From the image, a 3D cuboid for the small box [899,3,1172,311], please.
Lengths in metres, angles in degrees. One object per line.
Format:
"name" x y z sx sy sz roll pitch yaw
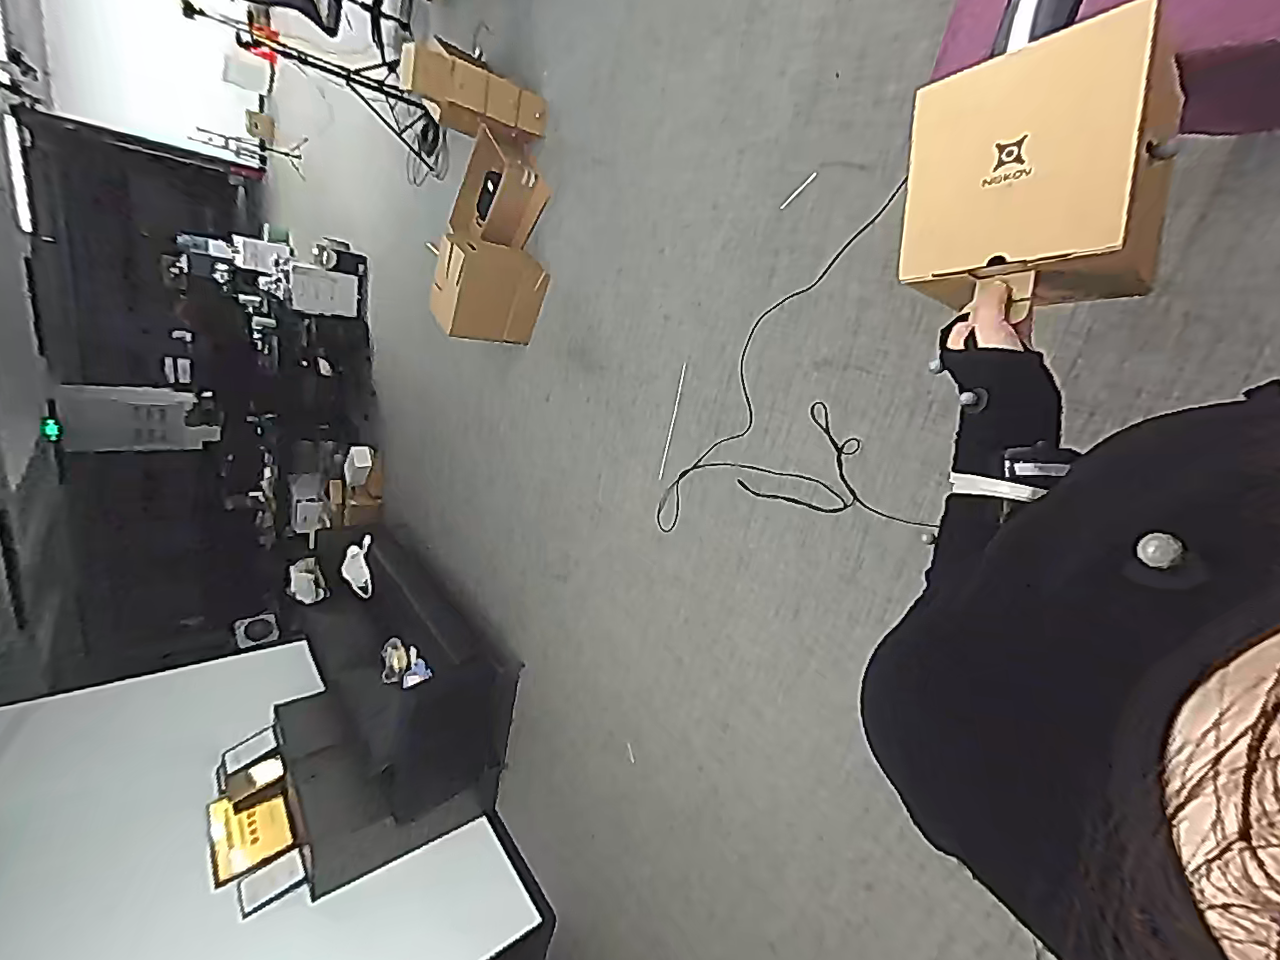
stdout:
"small box" 0.367 -0.267 0.503 0.168 0.176 0.179 10 101 47
